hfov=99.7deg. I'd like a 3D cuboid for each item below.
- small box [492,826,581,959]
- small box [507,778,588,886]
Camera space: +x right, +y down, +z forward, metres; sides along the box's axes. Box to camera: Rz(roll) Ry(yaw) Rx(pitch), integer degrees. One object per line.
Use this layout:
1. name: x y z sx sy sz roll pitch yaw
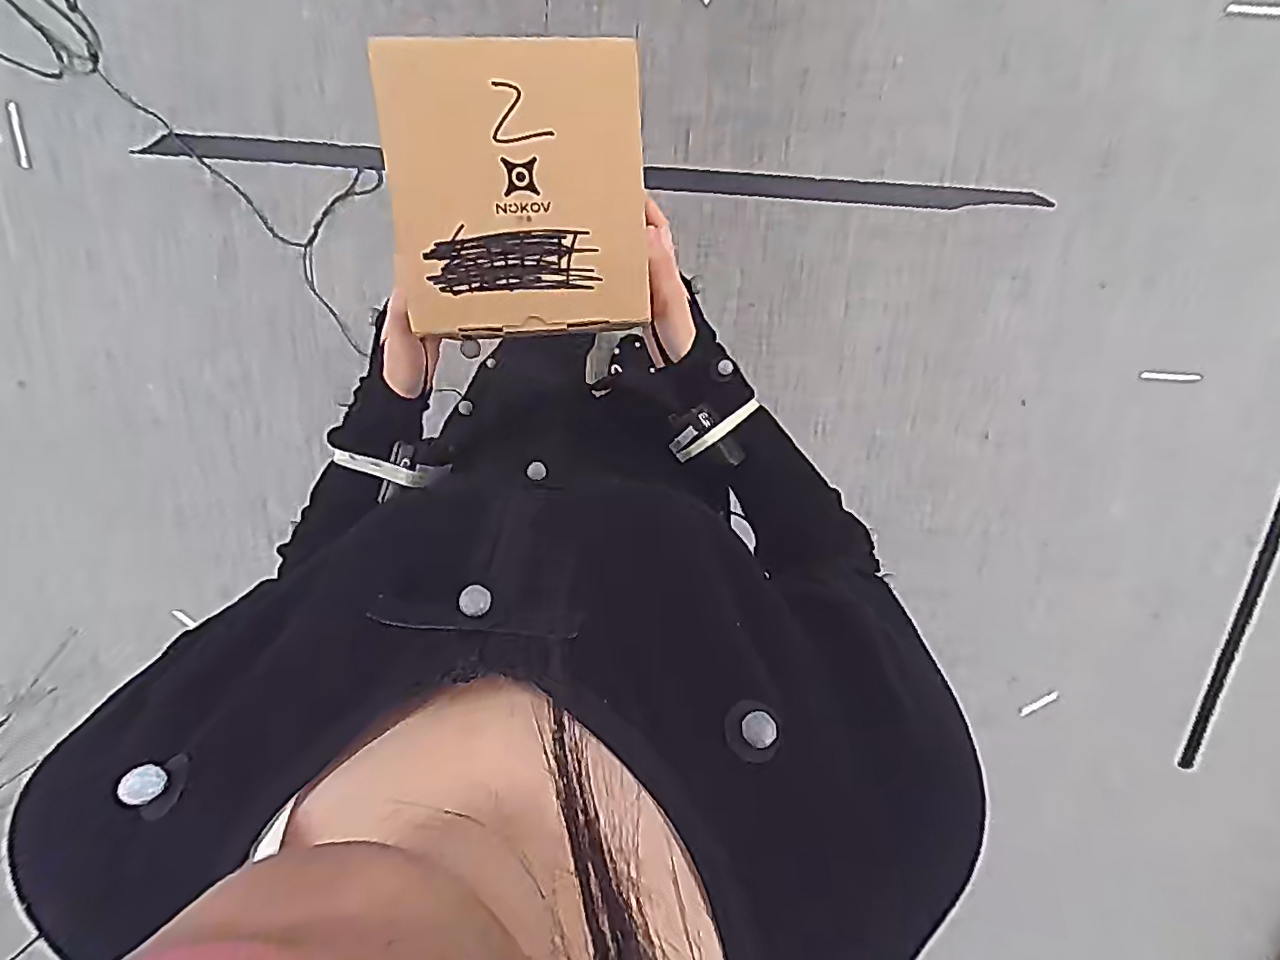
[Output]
1. small box: -0.220 0.902 1.182 0.168 0.176 0.179 3 103 0
2. small box: -0.223 0.870 1.341 0.179 0.176 0.168 2 103 1
